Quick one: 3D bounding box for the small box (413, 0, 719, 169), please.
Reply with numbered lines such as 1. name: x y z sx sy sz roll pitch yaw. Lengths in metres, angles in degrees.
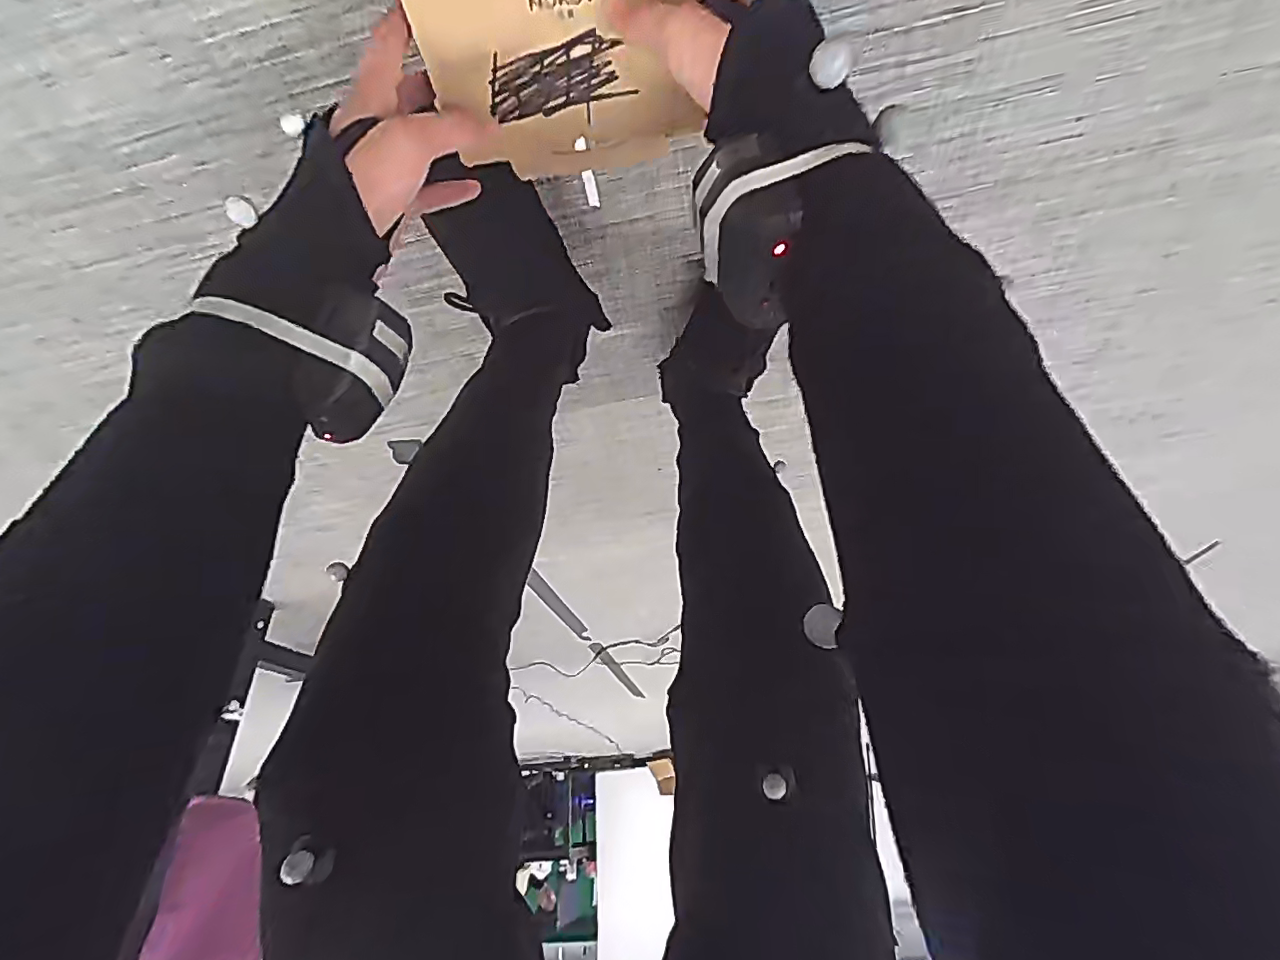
1. small box: -0.045 -0.328 0.324 0.168 0.176 0.179 -8 148 2
